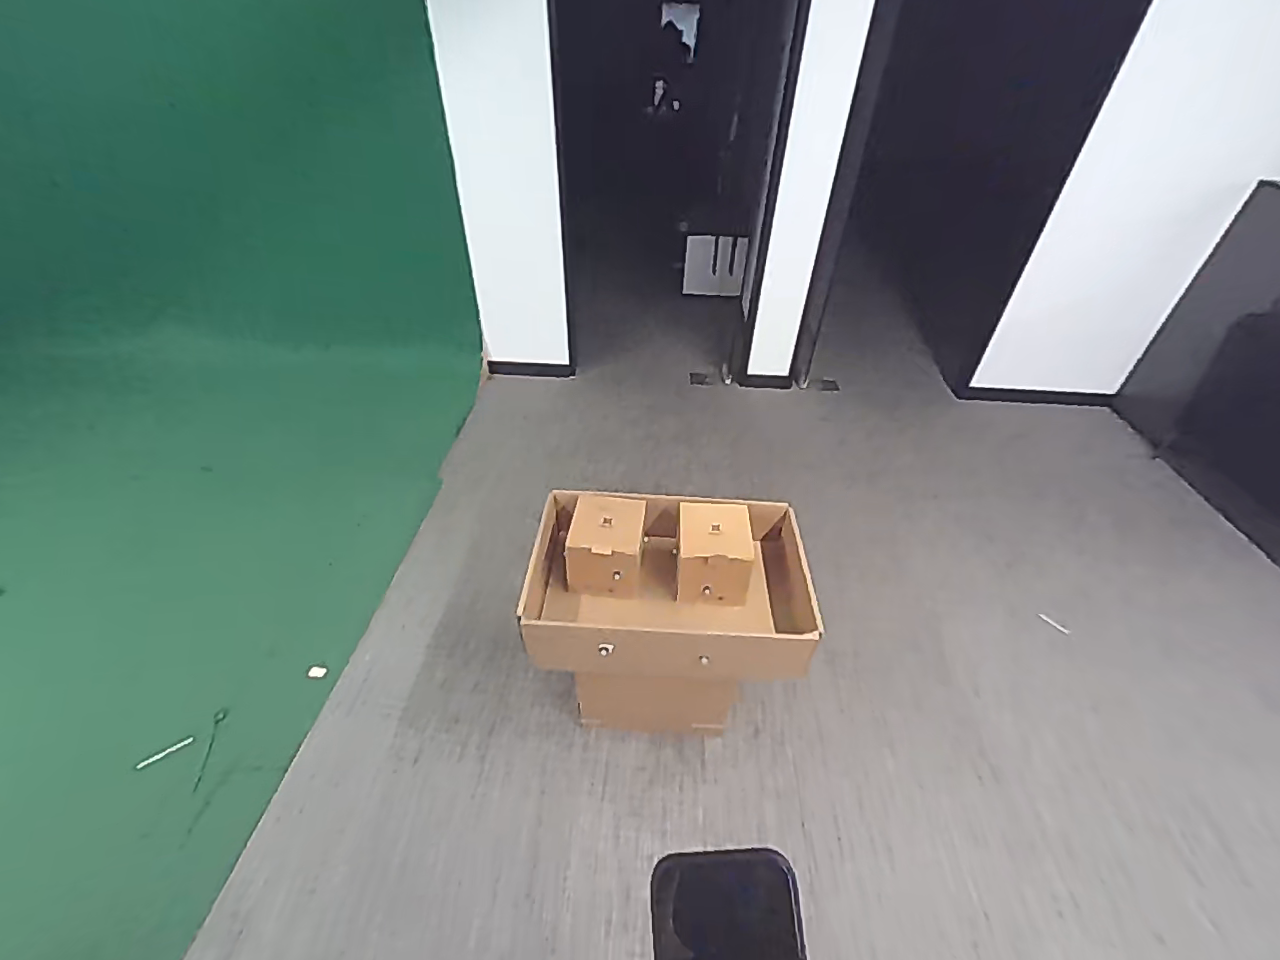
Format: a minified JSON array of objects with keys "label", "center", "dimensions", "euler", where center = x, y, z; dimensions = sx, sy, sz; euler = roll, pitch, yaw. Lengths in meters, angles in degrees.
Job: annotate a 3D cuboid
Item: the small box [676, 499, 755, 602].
[{"label":"small box","center":[0.173,0.167,1.292],"dimensions":[0.168,0.176,0.179],"euler":[2,41,2]}]
